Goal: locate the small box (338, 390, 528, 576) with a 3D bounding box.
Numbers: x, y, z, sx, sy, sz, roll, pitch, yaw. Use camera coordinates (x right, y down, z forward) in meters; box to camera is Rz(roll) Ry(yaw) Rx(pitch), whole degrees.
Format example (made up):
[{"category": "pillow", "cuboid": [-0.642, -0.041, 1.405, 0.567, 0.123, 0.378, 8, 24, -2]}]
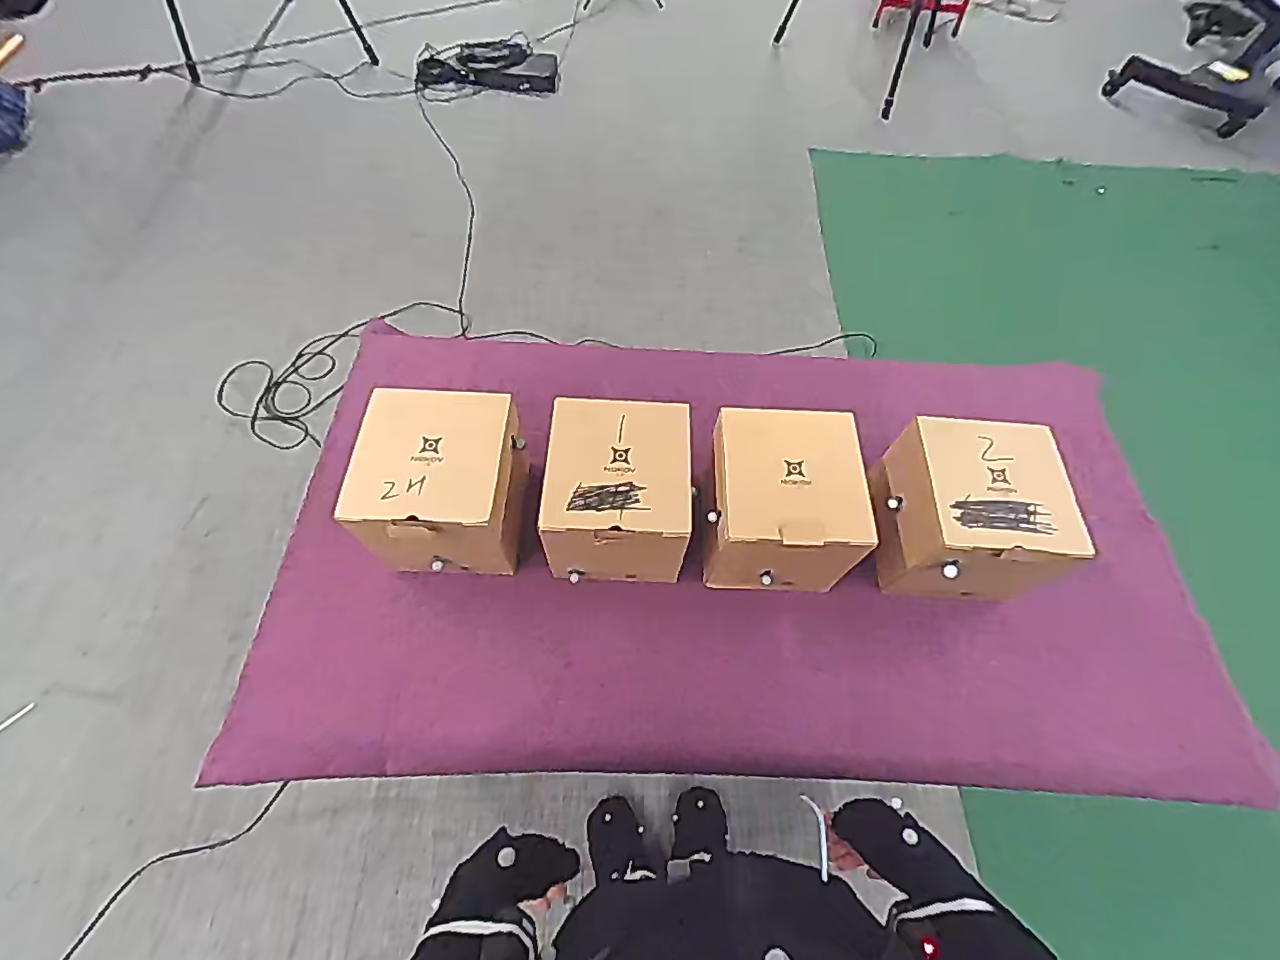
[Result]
[{"category": "small box", "cuboid": [-0.242, 0.009, 0.686, 0.168, 0.176, 0.179, 2, 62, -1]}]
